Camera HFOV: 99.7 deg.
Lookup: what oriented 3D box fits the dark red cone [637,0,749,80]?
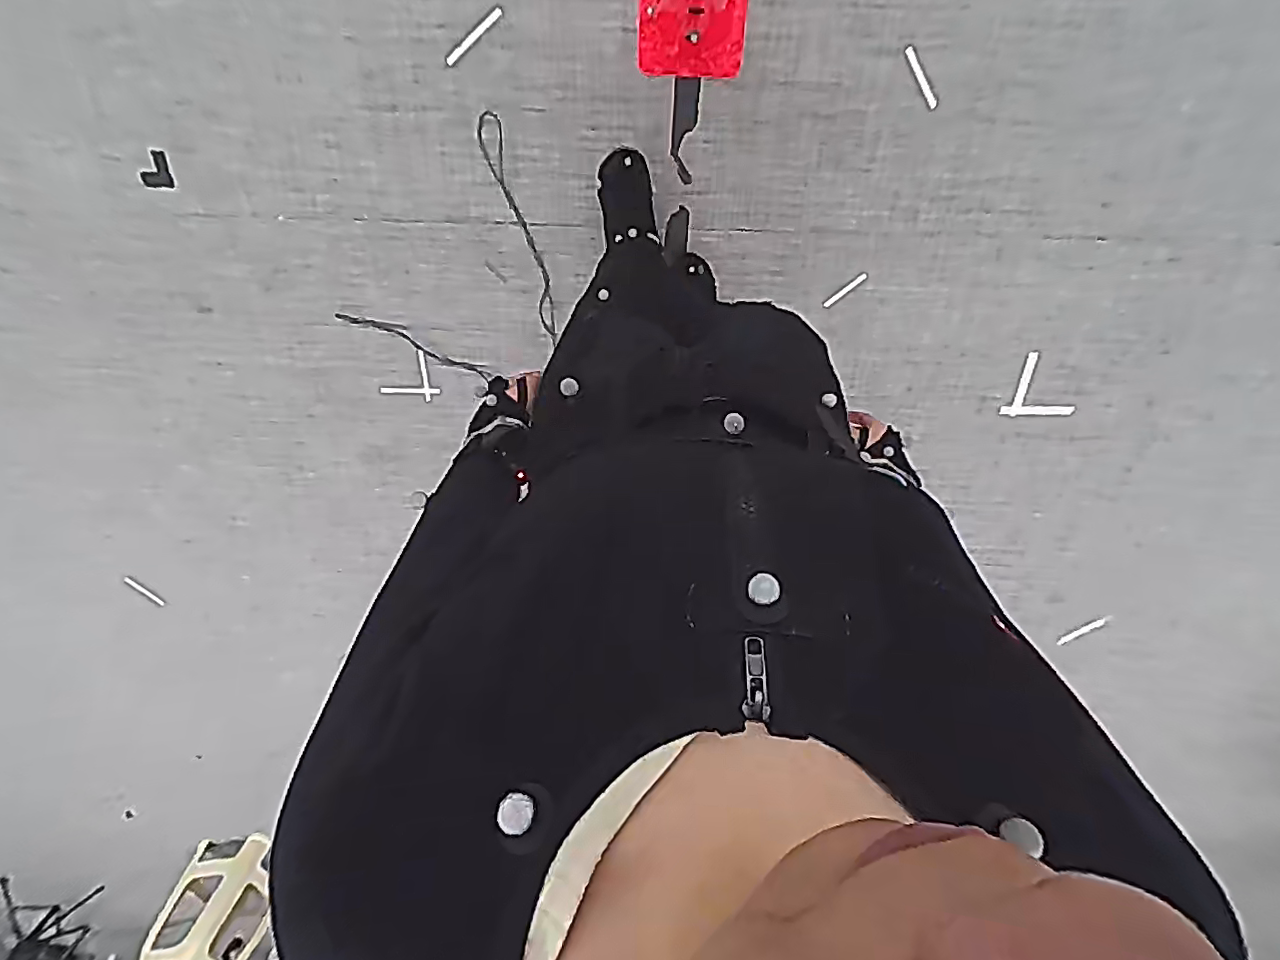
[{"bbox_3d":[0.087,-0.769,0.826,0.201,0.394,0.202,3,118,2],"label":"dark red cone"}]
